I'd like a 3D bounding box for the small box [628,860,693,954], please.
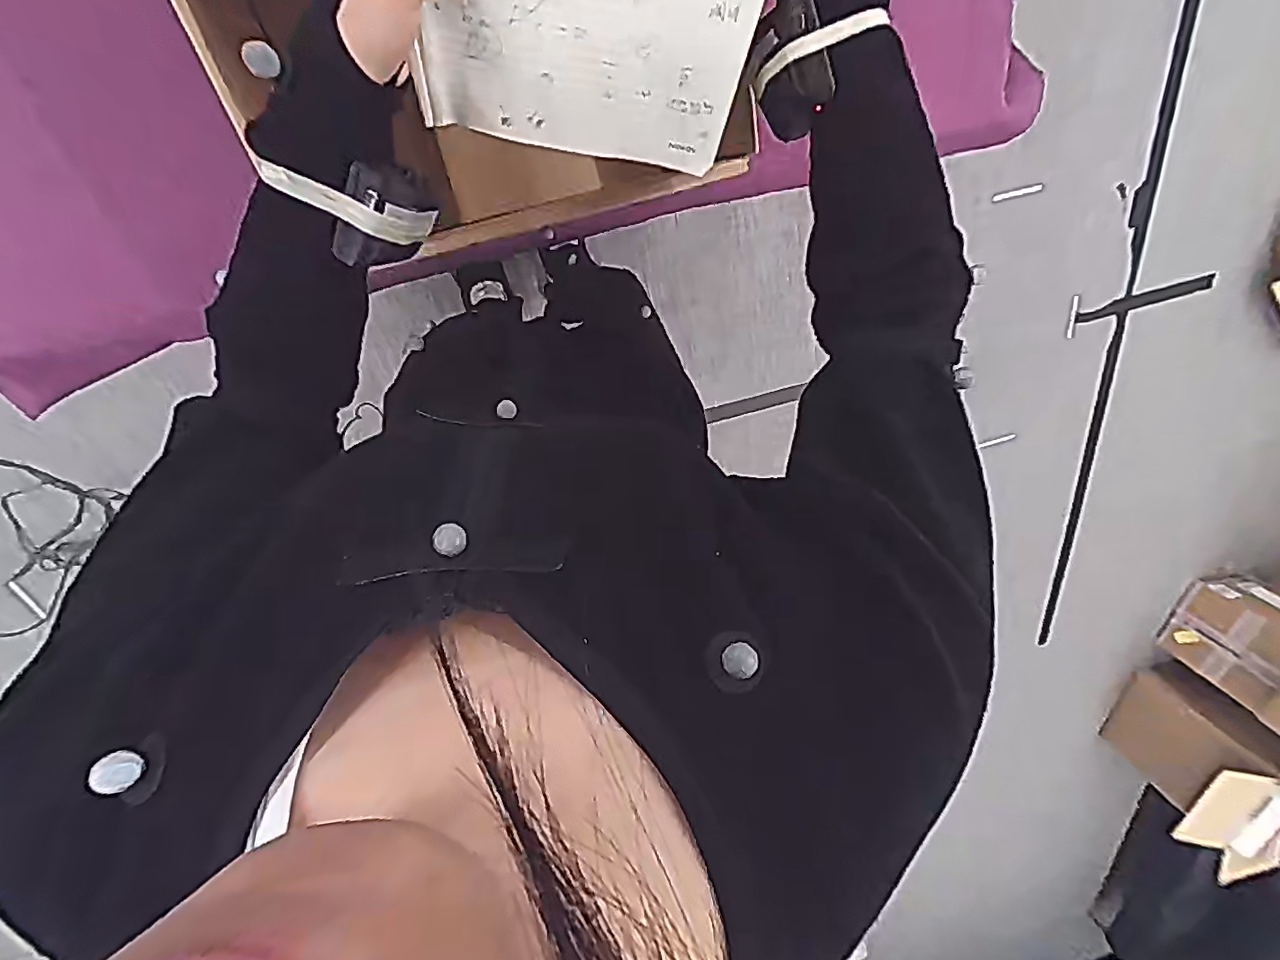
[{"bbox_3d":[0.063,1.397,1.774,0.179,0.176,0.168,-14,121,-8],"label":"small box"}]
